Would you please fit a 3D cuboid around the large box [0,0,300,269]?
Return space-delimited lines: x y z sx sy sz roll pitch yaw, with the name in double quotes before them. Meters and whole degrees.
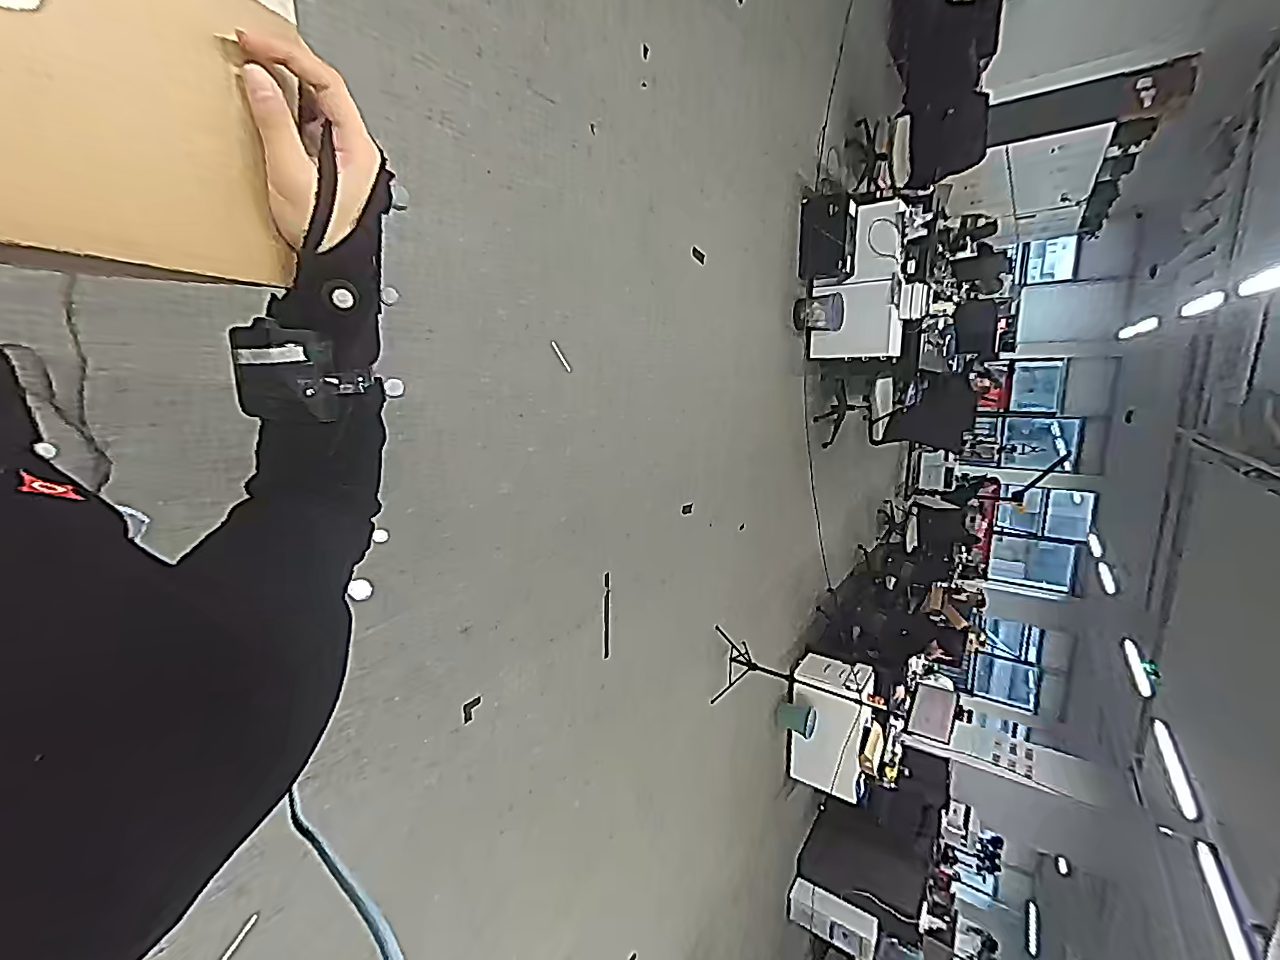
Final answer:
"large box" -0.433 -0.284 0.217 0.408 0.320 0.320 -16 117 -60
